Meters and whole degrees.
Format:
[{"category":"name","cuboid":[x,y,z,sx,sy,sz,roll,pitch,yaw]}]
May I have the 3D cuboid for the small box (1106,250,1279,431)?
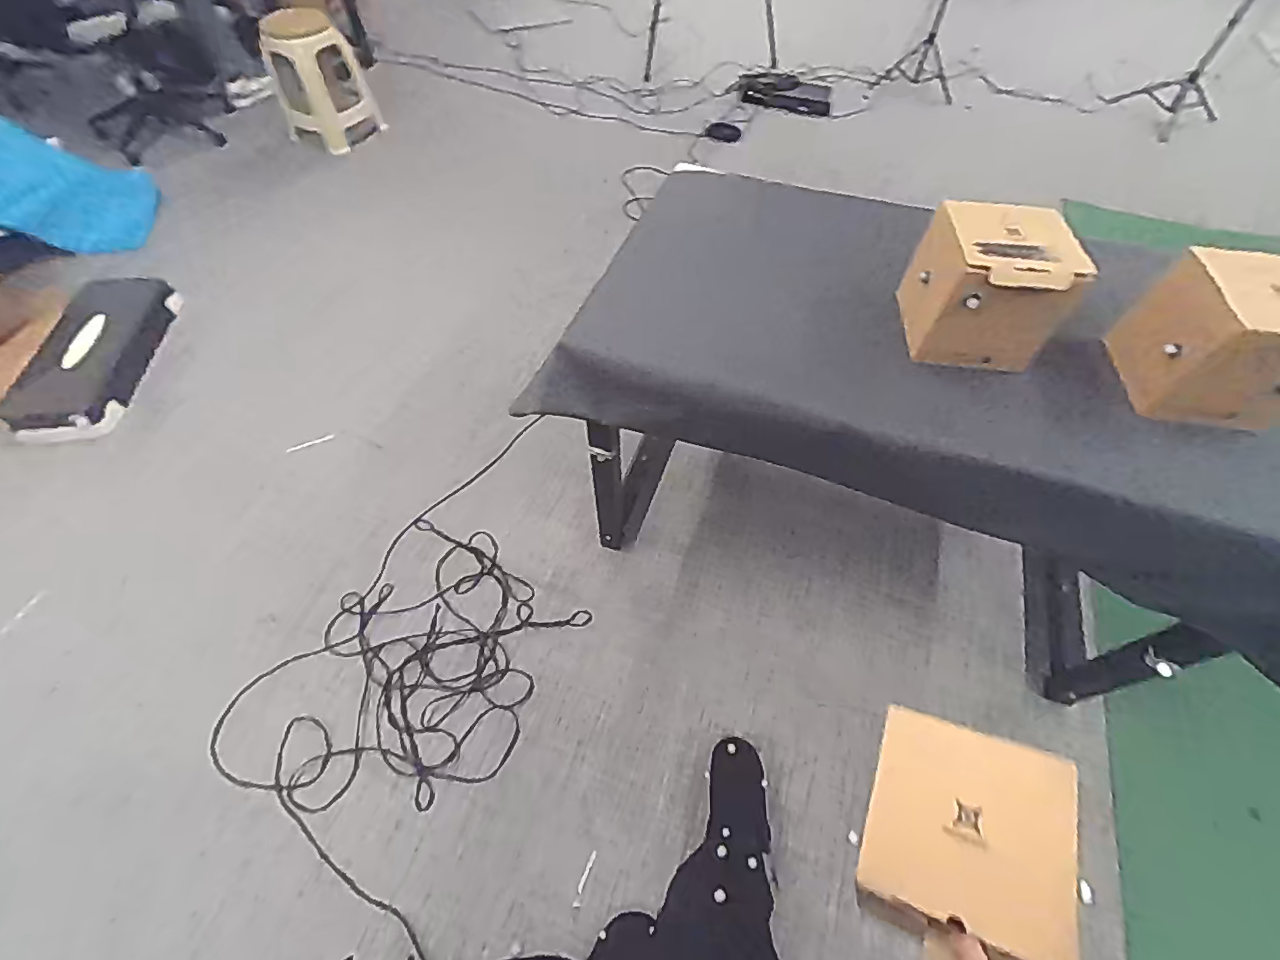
[{"category":"small box","cuboid":[0.816,-0.190,0.755,0.168,0.176,0.179,9,55,4]}]
